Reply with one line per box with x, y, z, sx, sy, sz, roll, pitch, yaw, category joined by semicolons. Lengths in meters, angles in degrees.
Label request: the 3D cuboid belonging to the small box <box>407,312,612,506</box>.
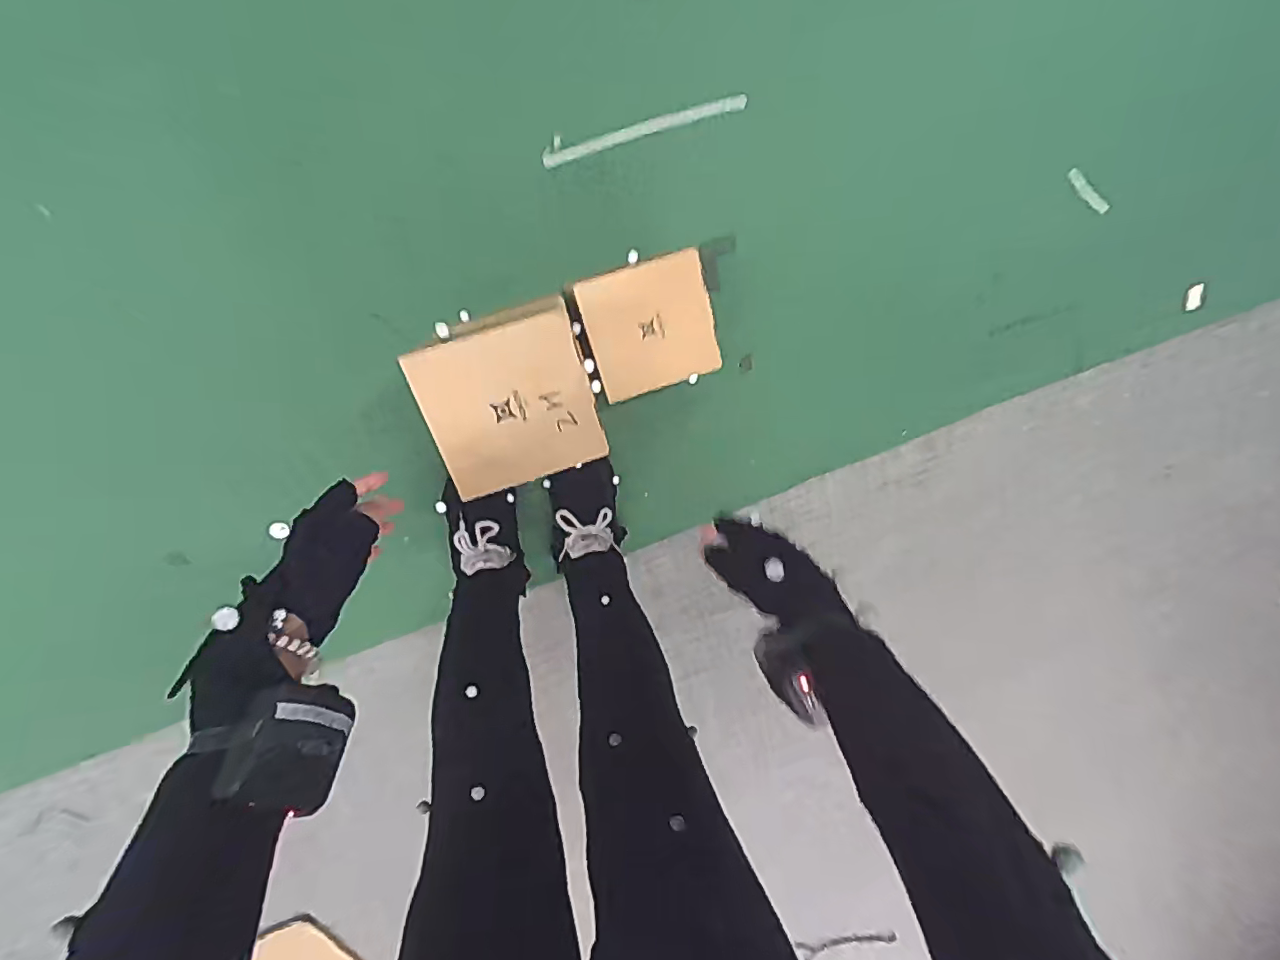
-0.146;-0.094;0.646;0.179;0.176;0.168;-18;113;-5;small box
